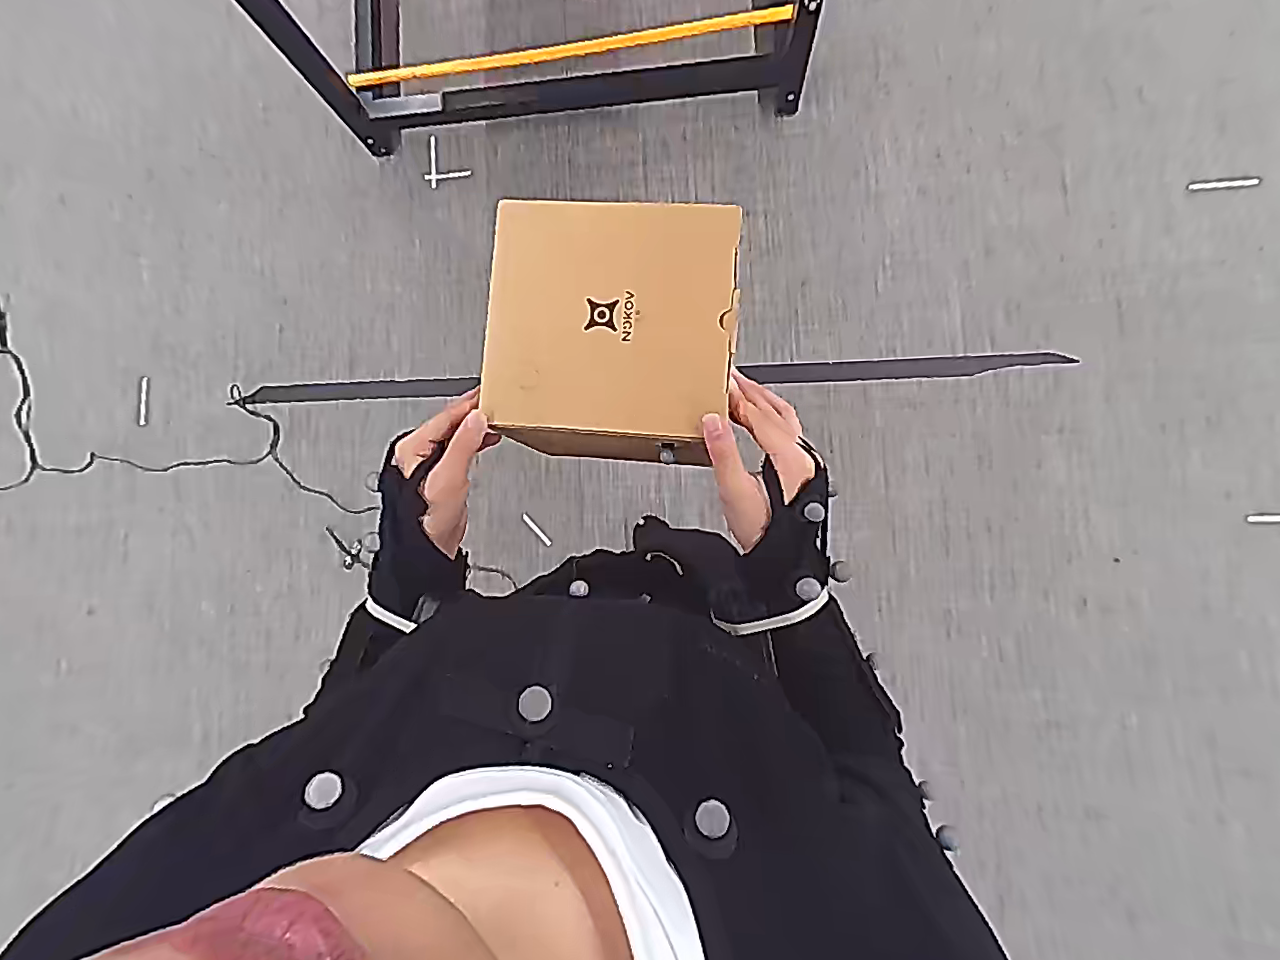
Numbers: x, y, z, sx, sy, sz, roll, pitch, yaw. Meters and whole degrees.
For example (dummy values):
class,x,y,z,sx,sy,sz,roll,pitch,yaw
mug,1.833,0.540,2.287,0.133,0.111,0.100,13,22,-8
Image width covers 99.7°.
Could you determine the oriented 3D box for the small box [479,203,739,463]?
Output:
class,x,y,z,sx,sy,sz,roll,pitch,yaw
small box,-0.016,-0.109,0.463,0.179,0.176,0.168,4,86,5
